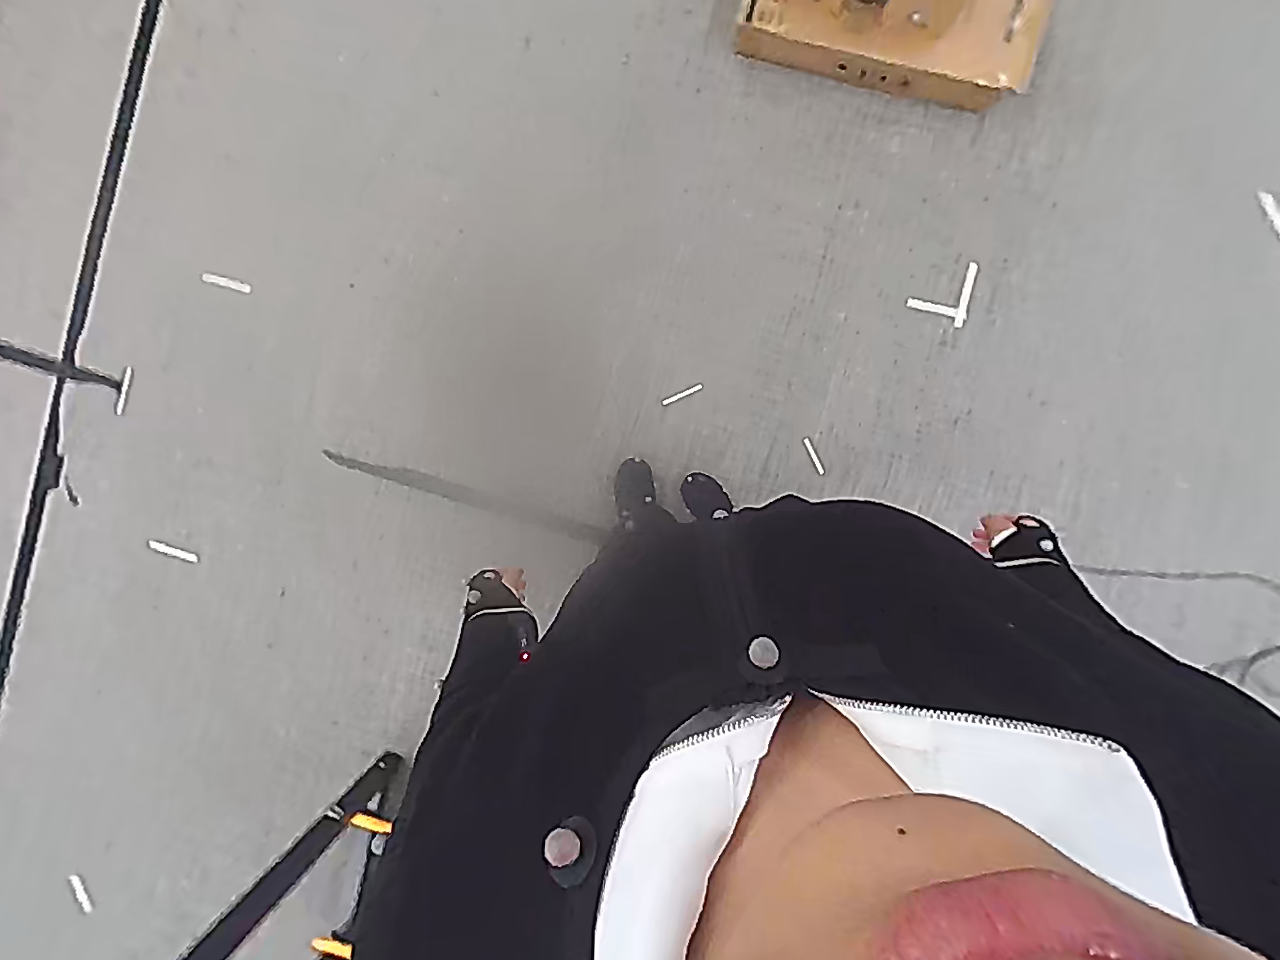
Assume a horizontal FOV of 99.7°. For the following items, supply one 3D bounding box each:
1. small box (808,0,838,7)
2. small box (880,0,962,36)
[{"bbox_3d":[0.429,-1.274,1.269,0.168,0.176,0.179,17,93,2],"label":"small box"},{"bbox_3d":[0.687,-1.200,1.257,0.168,0.176,0.179,20,92,3],"label":"small box"}]
